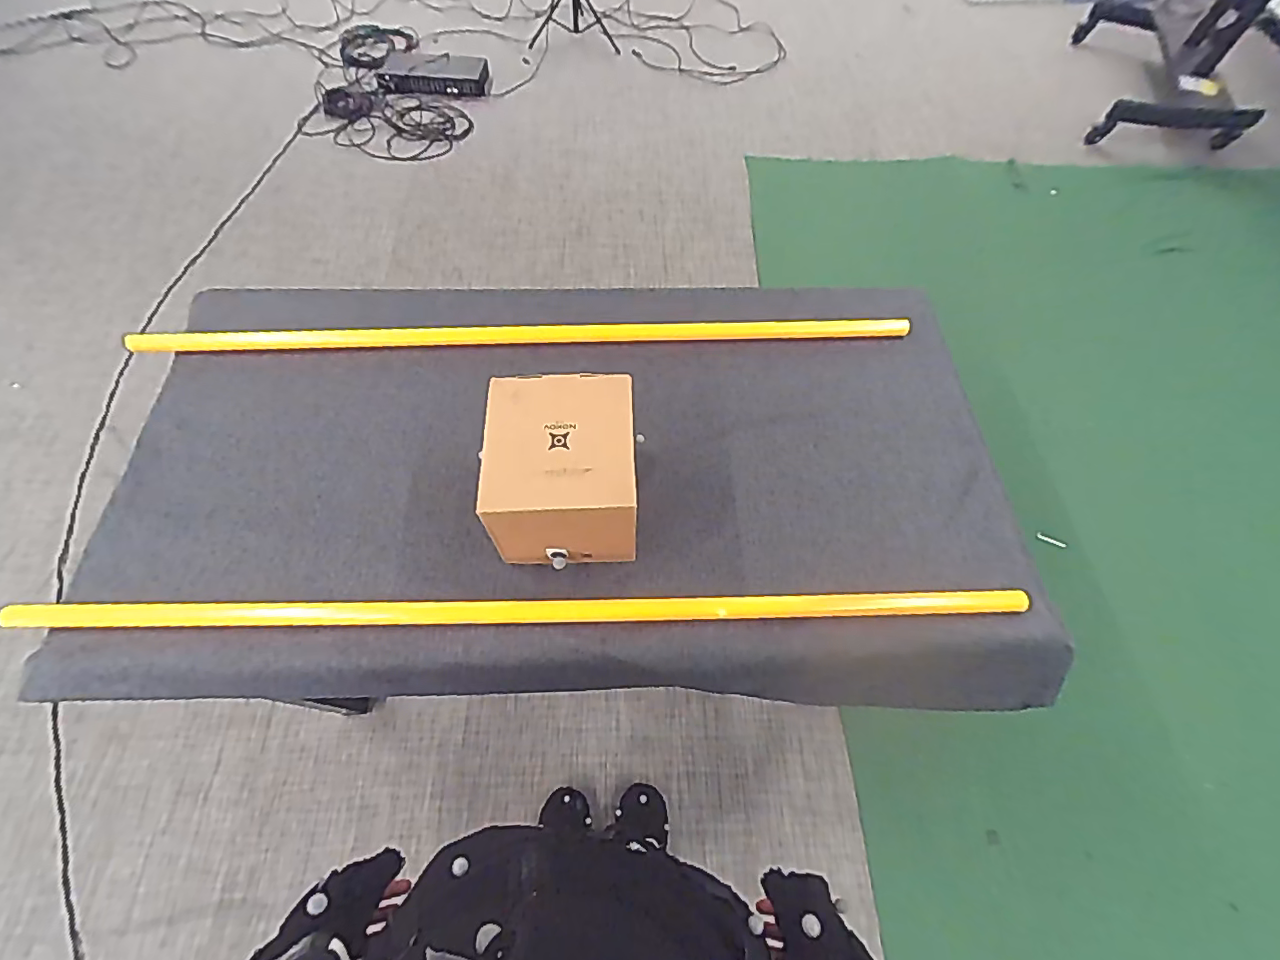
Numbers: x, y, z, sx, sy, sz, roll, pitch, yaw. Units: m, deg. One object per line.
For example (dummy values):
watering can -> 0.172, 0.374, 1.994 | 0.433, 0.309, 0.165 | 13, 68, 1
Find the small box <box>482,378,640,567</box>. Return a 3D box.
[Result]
small box -> -0.088, -0.005, 0.668 | 0.168, 0.176, 0.179 | -3, 62, -2
